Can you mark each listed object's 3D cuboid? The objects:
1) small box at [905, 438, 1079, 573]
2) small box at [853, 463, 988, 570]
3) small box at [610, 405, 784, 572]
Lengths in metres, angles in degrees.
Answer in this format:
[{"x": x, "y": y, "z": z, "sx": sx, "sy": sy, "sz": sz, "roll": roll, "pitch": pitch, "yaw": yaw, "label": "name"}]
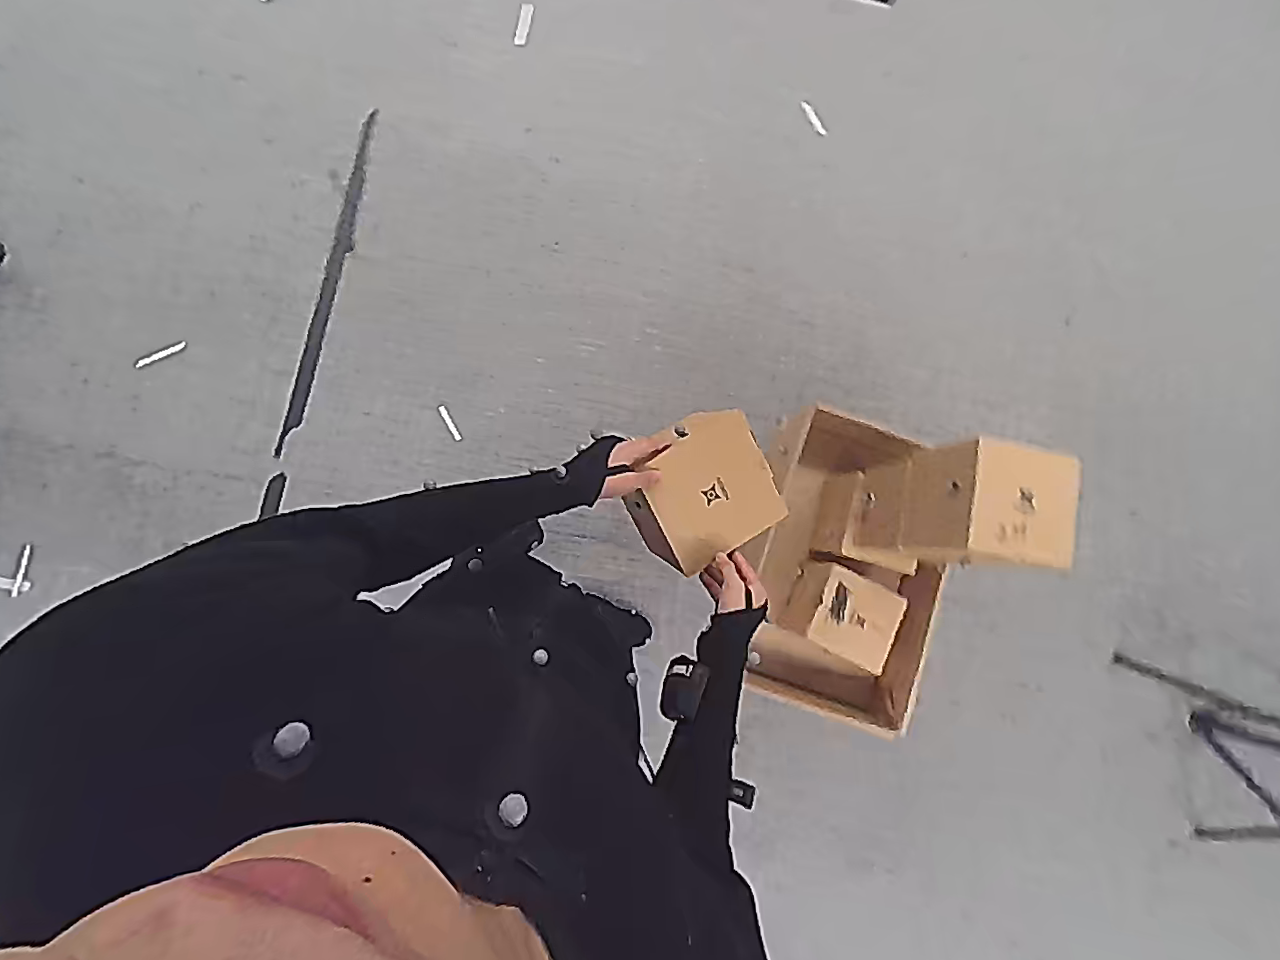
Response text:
[{"x": 0.561, "y": 0.044, "z": 0.881, "sx": 0.168, "sy": 0.176, "sz": 0.179, "roll": 12, "pitch": 84, "yaw": -4, "label": "small box"}, {"x": 0.544, "y": 0.070, "z": 1.042, "sx": 0.179, "sy": 0.176, "sz": 0.168, "roll": 11, "pitch": 84, "yaw": -5, "label": "small box"}, {"x": 0.071, "y": 0.007, "z": 0.794, "sx": 0.179, "sy": 0.176, "sz": 0.168, "roll": -31, "pitch": 102, "yaw": -13, "label": "small box"}]
